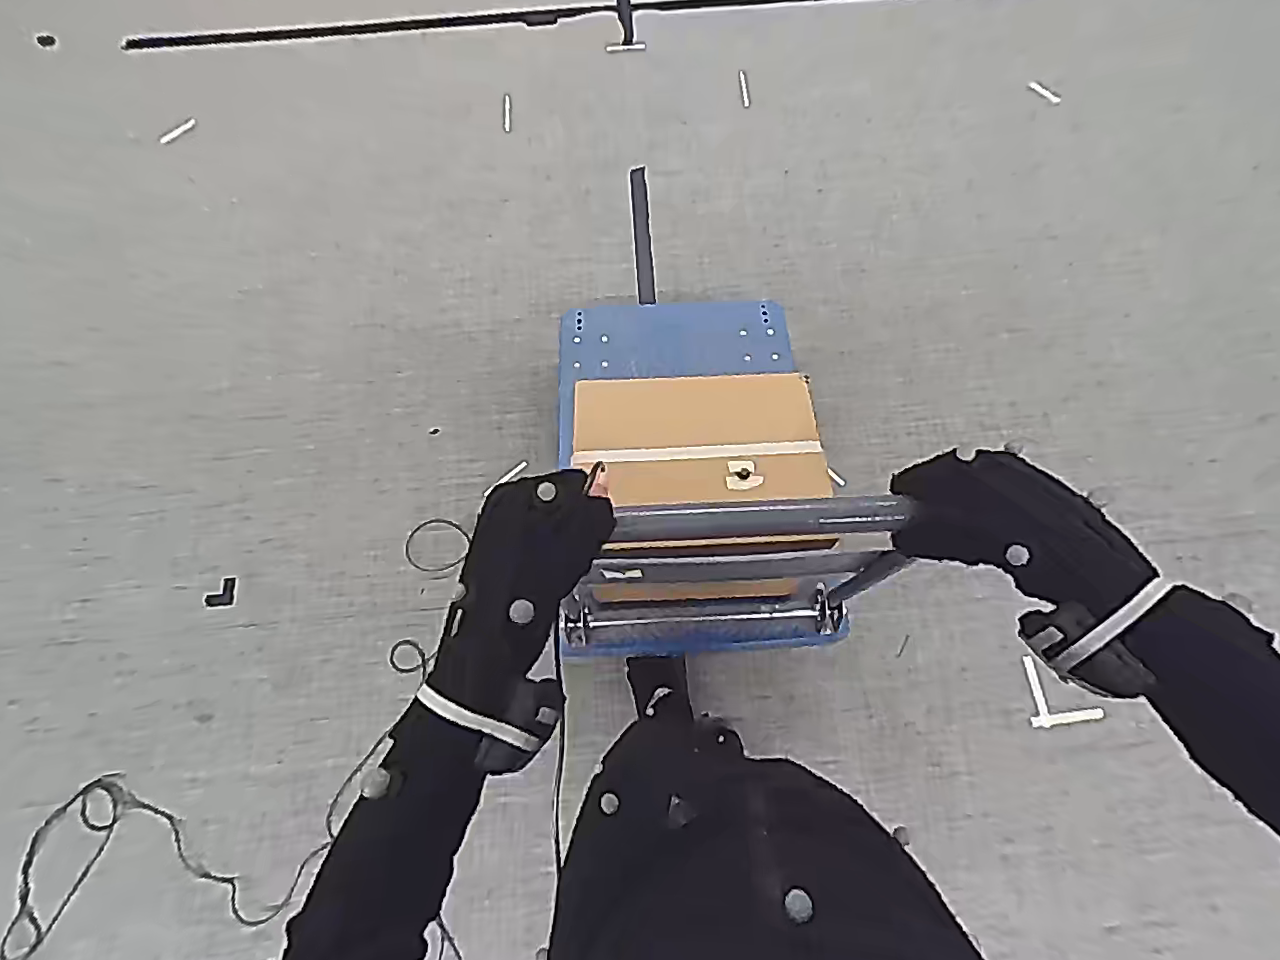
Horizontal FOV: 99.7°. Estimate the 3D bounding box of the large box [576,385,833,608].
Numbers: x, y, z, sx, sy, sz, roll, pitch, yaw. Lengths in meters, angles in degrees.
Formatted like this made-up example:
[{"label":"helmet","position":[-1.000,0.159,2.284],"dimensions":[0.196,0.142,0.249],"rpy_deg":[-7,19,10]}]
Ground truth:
[{"label":"large box","position":[0.091,0.043,1.027],"dimensions":[0.408,0.320,0.320],"rpy_deg":[-2,63,-2]}]
